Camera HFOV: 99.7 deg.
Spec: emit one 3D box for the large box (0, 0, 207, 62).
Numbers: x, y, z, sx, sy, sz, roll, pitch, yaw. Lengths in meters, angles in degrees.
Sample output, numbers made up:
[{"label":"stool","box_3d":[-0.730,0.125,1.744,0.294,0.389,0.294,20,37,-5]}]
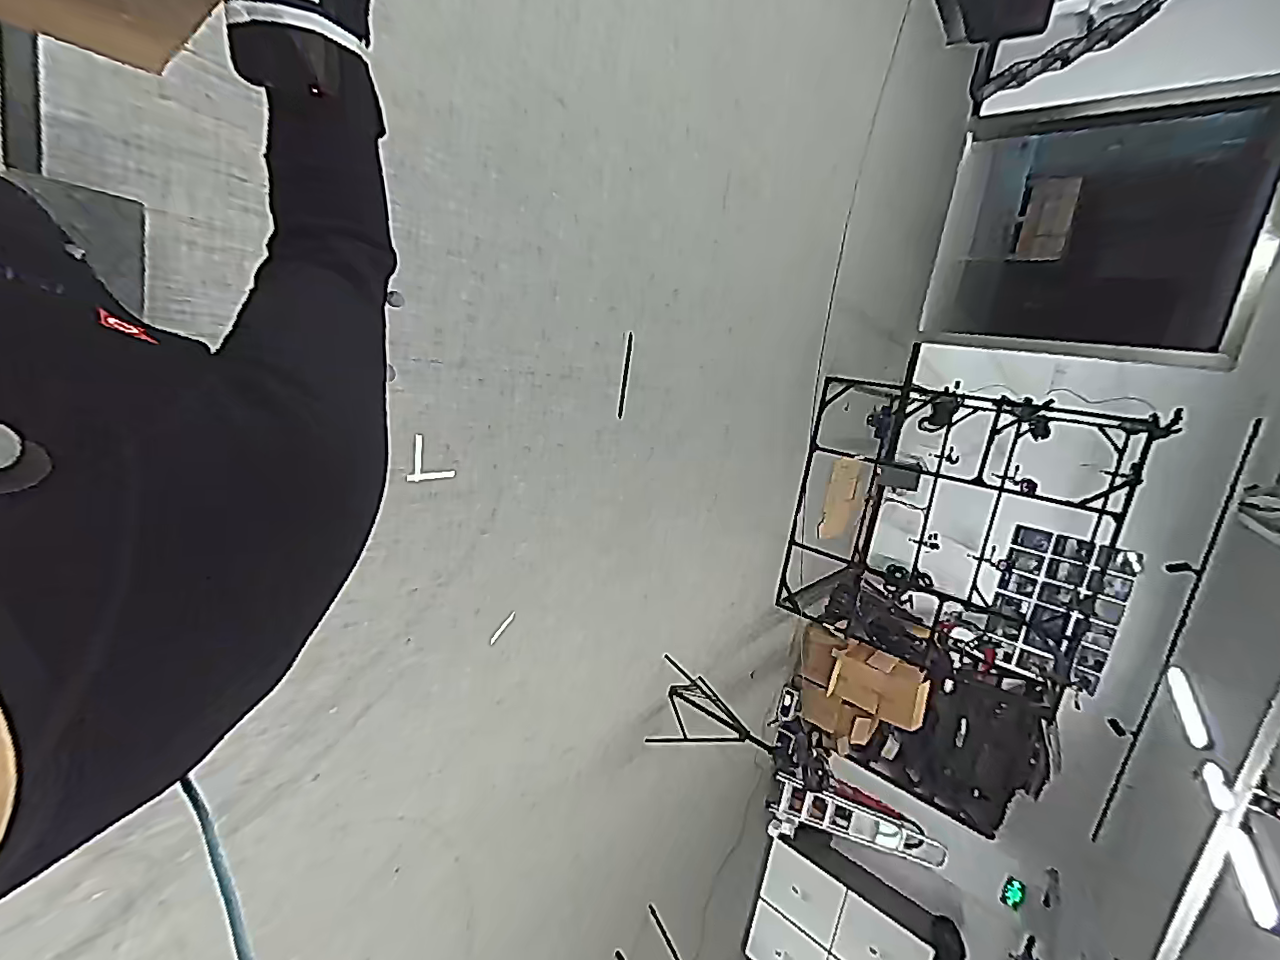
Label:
[{"label":"large box","box_3d":[-0.453,-0.483,0.235,0.408,0.320,0.320,-10,109,-51]}]
